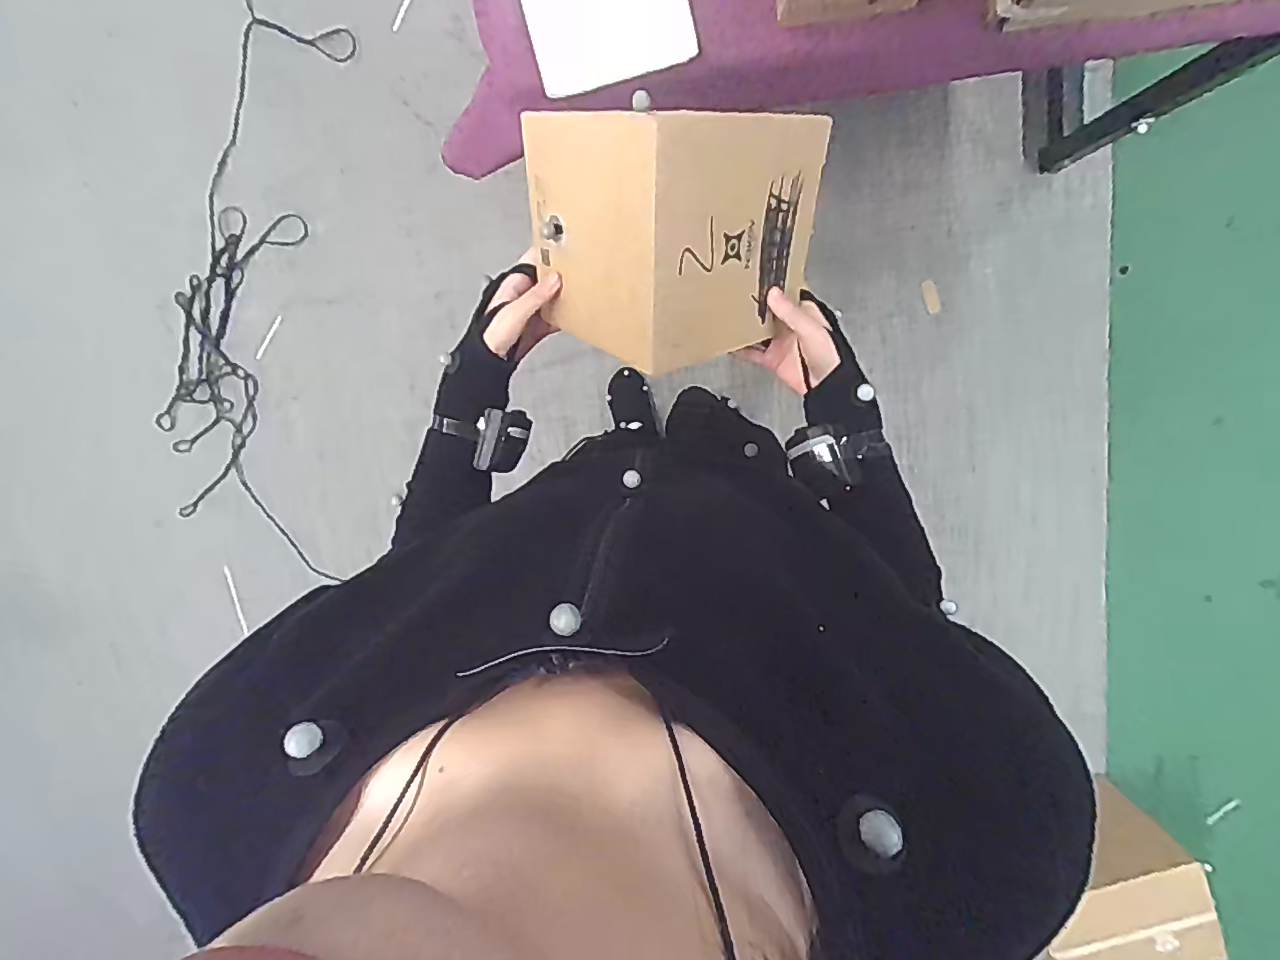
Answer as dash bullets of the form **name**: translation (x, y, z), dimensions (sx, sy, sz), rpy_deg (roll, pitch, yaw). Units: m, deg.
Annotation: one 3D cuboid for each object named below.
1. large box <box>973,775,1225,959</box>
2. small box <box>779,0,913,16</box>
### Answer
- **large box**: translation (1.246, 1.113, 1.509), dimensions (0.408, 0.320, 0.320), rpy_deg (-21, 99, 5)
- **small box**: translation (0.239, -0.630, 0.563), dimensions (0.168, 0.176, 0.179), rpy_deg (-5, 99, 3)
